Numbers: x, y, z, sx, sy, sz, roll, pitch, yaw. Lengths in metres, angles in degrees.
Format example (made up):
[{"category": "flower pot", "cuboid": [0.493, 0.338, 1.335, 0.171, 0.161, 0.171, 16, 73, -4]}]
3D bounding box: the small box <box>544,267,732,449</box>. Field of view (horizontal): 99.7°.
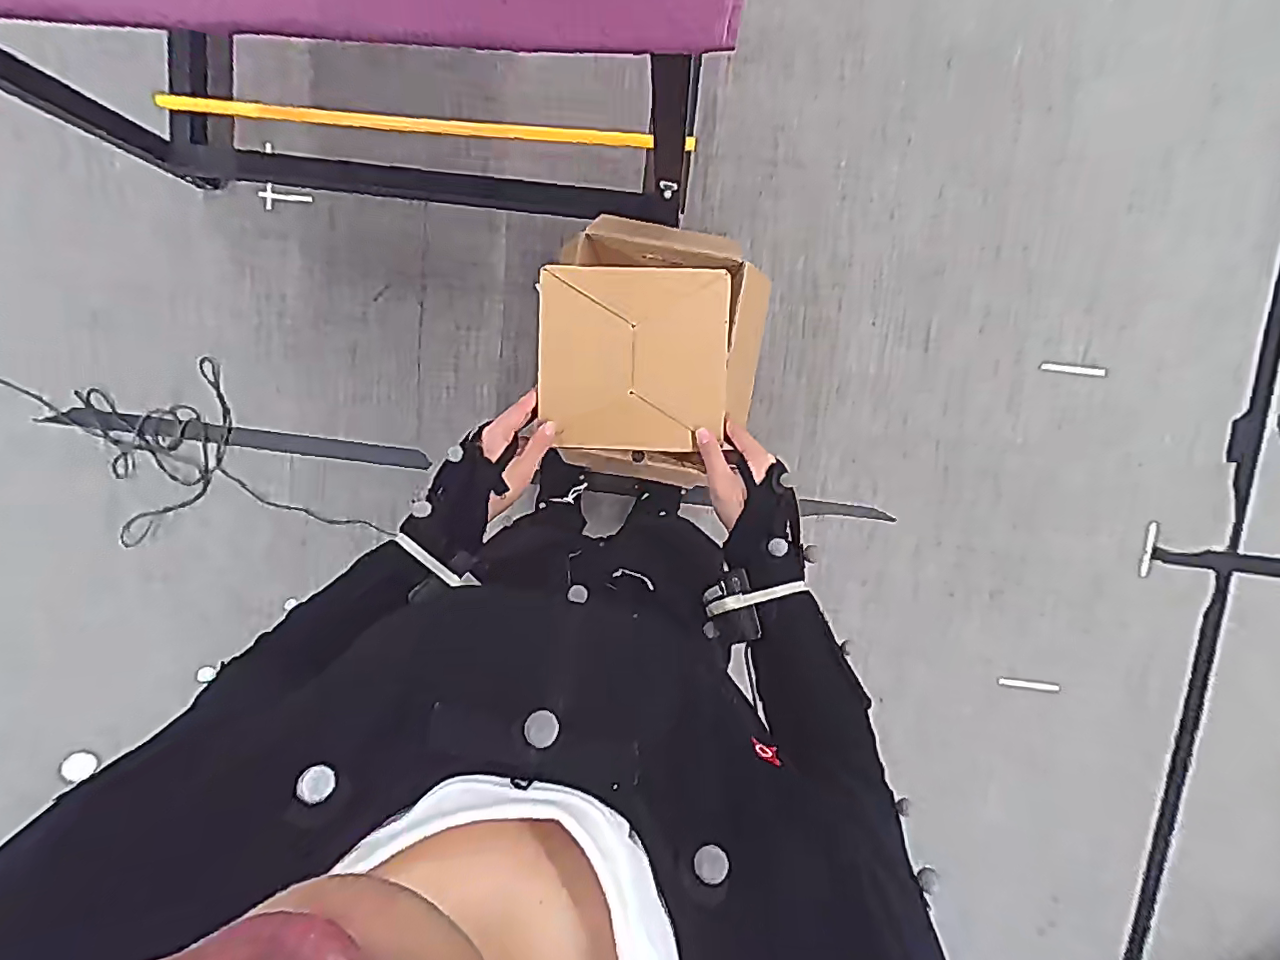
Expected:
[{"category": "small box", "cuboid": [-0.005, -0.118, 0.577, 0.179, 0.176, 0.168, 2, 94, 1]}]
